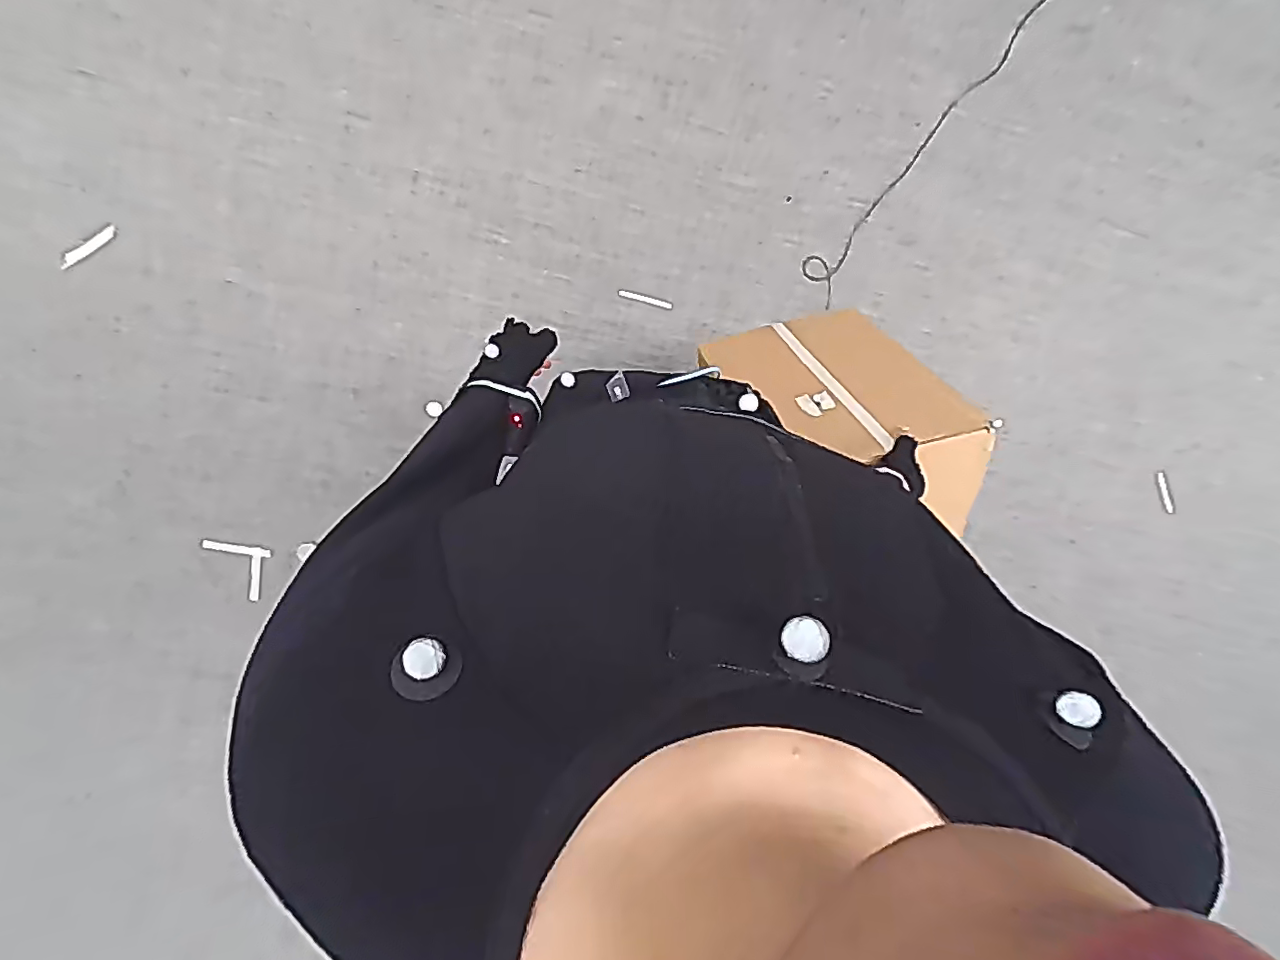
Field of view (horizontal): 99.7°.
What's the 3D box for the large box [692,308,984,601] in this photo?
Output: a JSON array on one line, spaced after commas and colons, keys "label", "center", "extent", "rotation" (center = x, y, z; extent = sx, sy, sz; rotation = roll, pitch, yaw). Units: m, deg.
[{"label": "large box", "center": [0.308, -0.059, 0.984], "extent": [0.320, 0.408, 0.320], "rotation": [-15, 133, -3]}]
